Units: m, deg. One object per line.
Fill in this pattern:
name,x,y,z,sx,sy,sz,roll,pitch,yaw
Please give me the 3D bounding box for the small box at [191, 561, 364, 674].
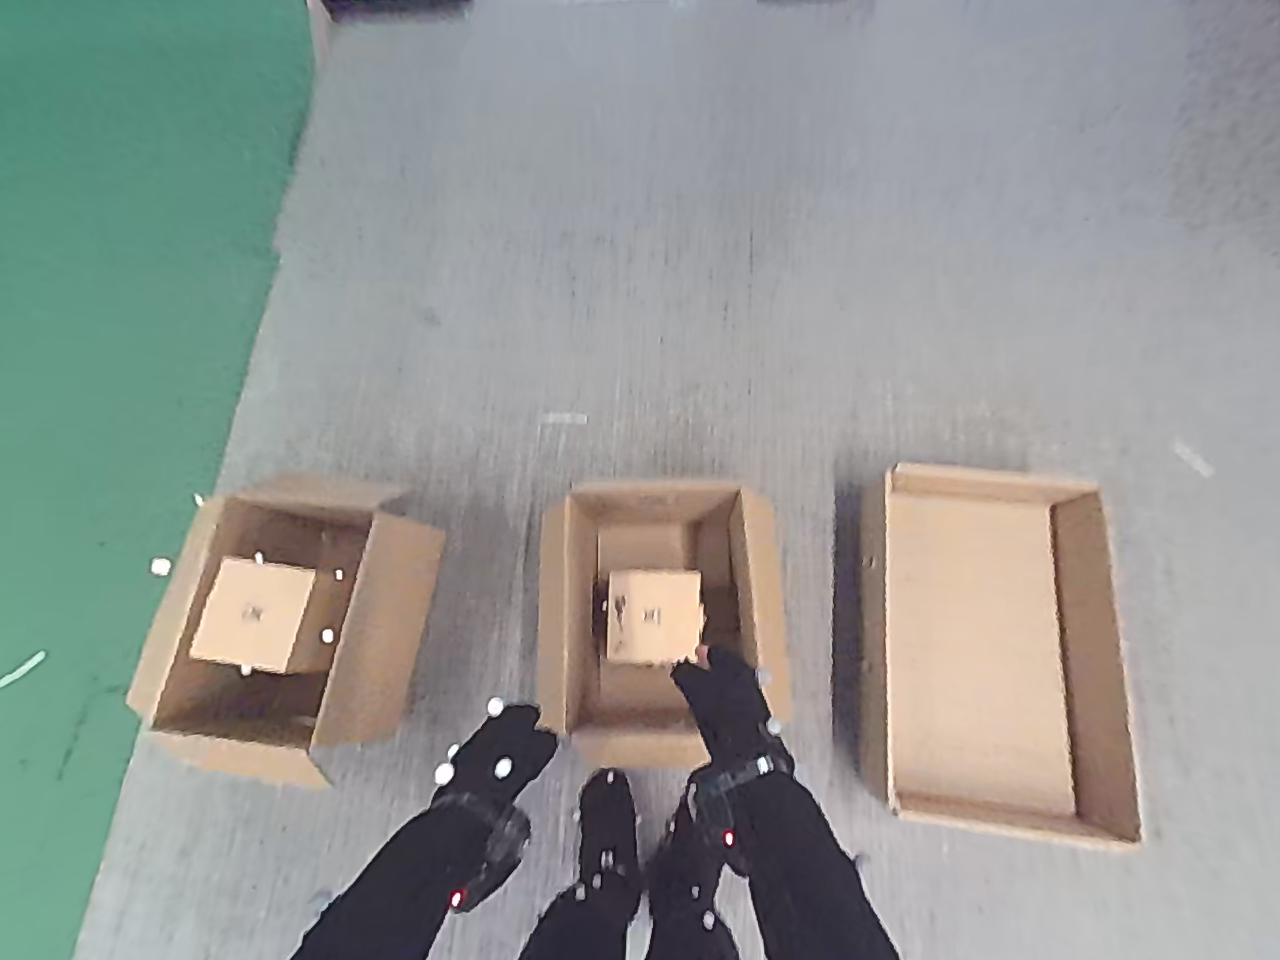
small box,-0.641,0.251,0.984,0.179,0.176,0.168,7,73,5
